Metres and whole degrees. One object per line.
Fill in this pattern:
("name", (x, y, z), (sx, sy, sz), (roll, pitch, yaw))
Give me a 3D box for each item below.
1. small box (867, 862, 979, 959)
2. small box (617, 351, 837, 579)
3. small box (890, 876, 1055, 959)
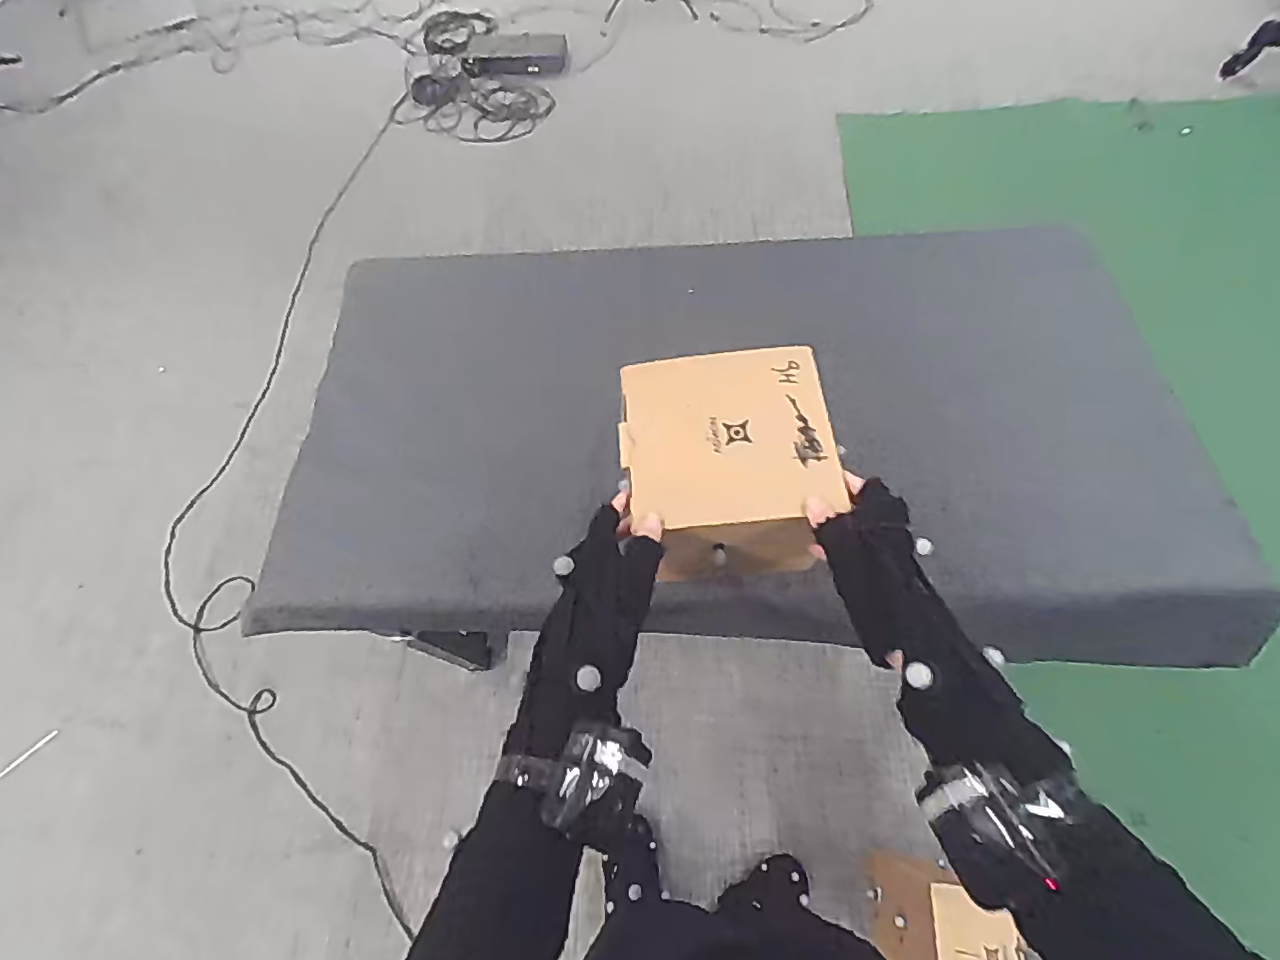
("small box", (0.538, 0.827, 0.999), (0.179, 0.176, 0.168), (6, 62, 8))
("small box", (0.076, -0.004, 0.539), (0.179, 0.176, 0.168), (-5, 64, 4))
("small box", (0.519, 0.748, 0.855), (0.179, 0.176, 0.168), (5, 62, 7))
